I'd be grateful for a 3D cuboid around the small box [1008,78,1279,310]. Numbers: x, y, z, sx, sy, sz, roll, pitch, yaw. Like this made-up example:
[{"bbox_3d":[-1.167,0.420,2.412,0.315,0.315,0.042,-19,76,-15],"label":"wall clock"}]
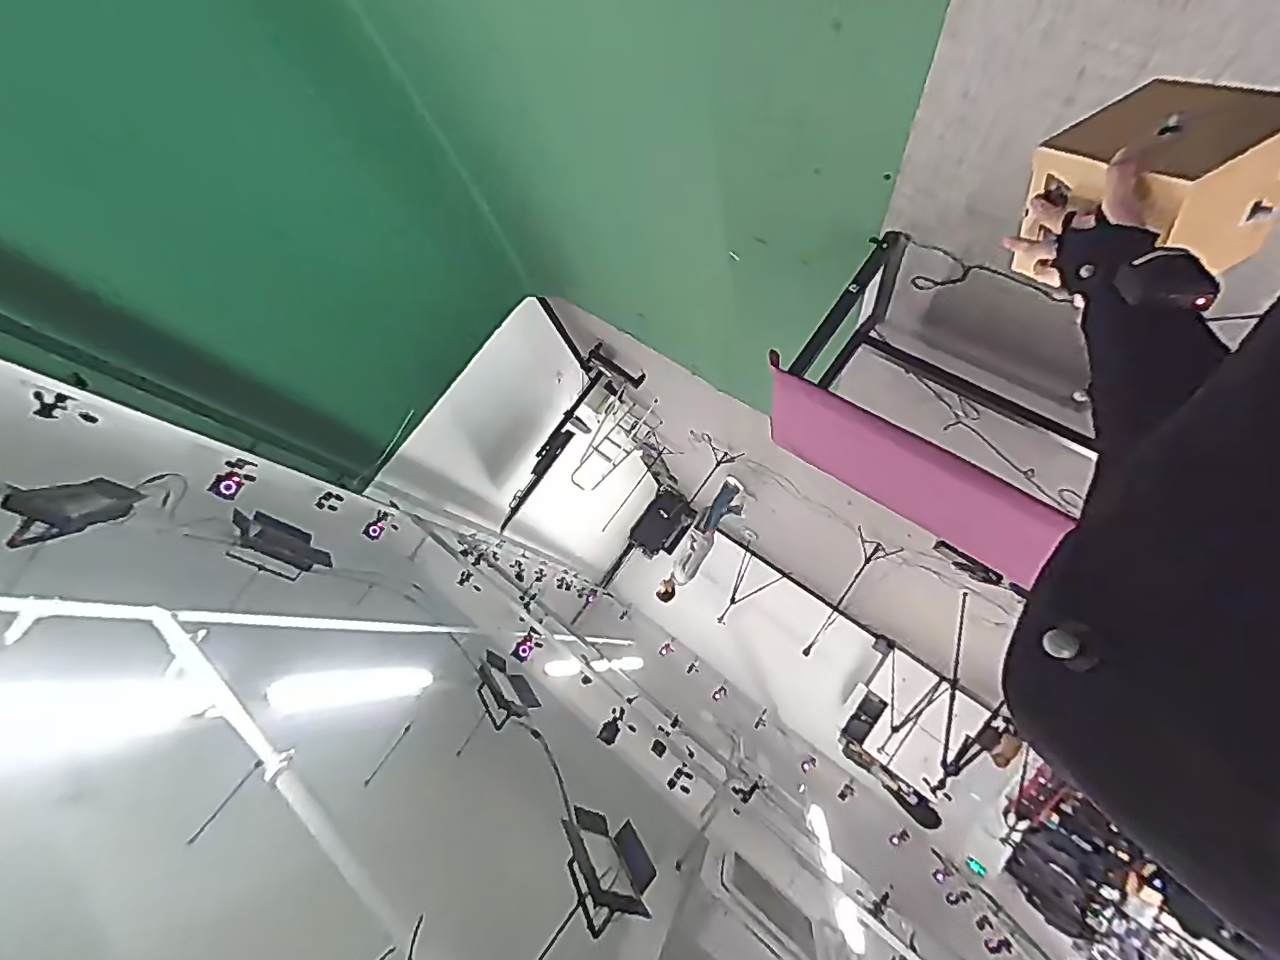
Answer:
[{"bbox_3d":[0.591,-0.341,0.640,0.179,0.176,0.168,58,178,43],"label":"small box"}]
